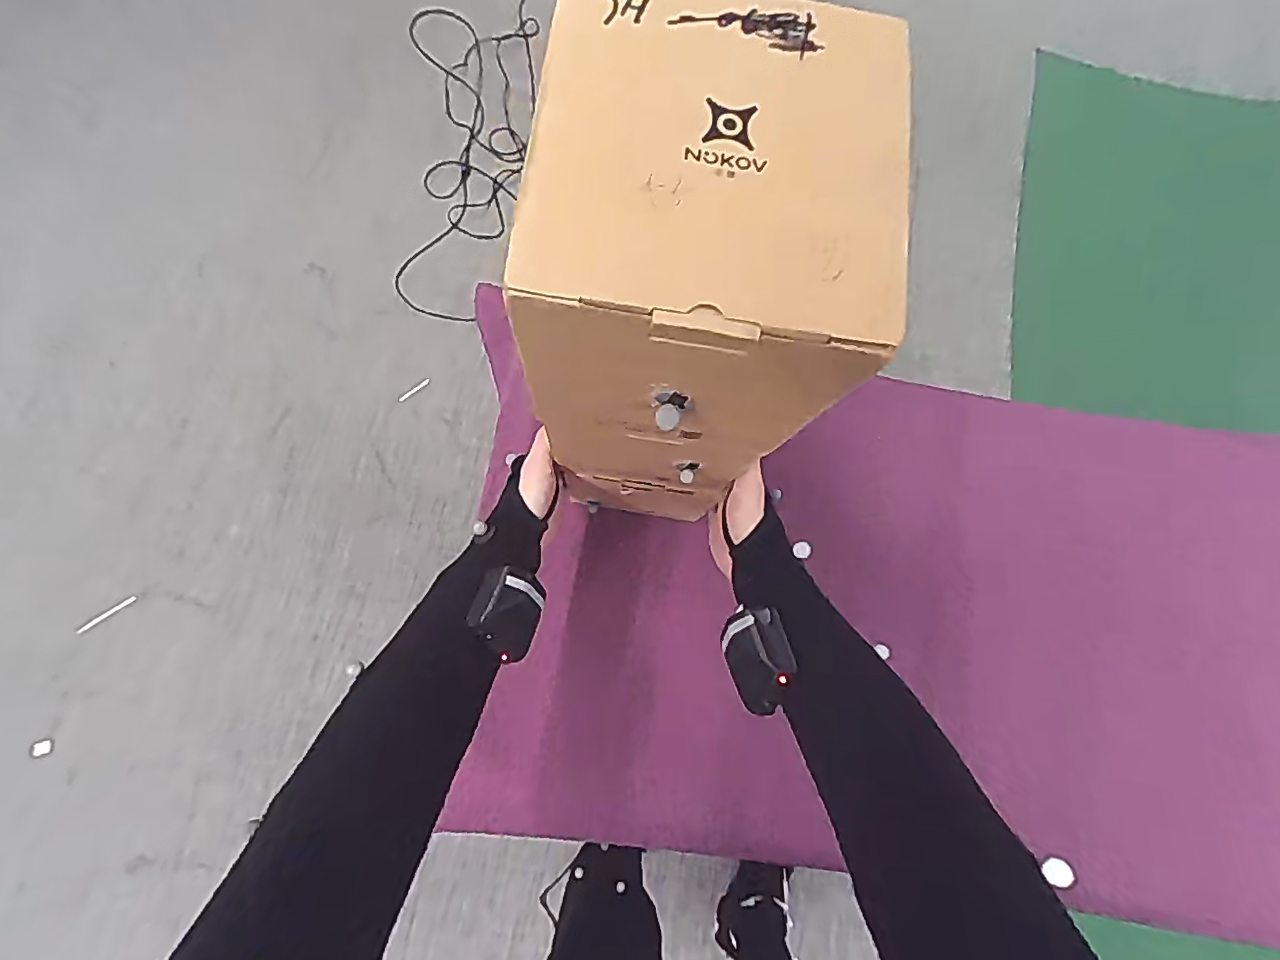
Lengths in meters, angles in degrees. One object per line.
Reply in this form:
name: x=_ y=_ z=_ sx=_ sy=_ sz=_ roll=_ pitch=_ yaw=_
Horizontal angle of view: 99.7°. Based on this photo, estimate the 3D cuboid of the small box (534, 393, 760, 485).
small box: x=0.012 y=-0.101 z=0.476 sx=0.168 sy=0.176 sz=0.179 roll=8 pitch=77 yaw=-3

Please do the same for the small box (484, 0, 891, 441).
small box: x=0.021 y=-0.131 z=0.315 sx=0.168 sy=0.176 sz=0.179 roll=8 pitch=79 yaw=-4

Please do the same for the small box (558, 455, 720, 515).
small box: x=0.006 y=-0.062 z=0.634 sx=0.168 sy=0.176 sz=0.179 roll=9 pitch=77 yaw=-2
